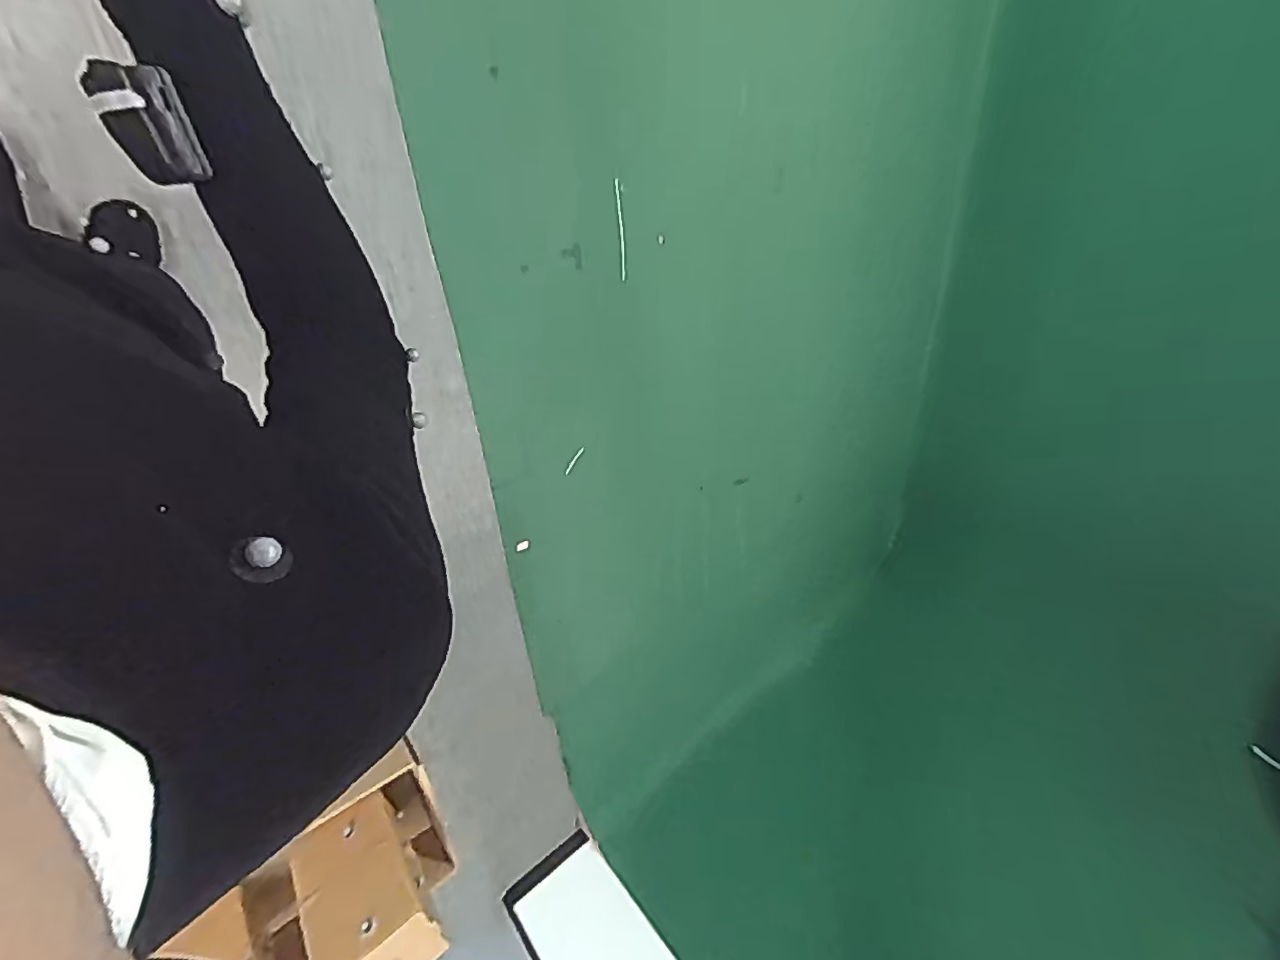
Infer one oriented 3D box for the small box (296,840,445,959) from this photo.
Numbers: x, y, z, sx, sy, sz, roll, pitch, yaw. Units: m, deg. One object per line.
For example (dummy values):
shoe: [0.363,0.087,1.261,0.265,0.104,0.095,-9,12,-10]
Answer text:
small box: [-0.492,0.815,0.989,0.179,0.176,0.168,-28,127,-29]
